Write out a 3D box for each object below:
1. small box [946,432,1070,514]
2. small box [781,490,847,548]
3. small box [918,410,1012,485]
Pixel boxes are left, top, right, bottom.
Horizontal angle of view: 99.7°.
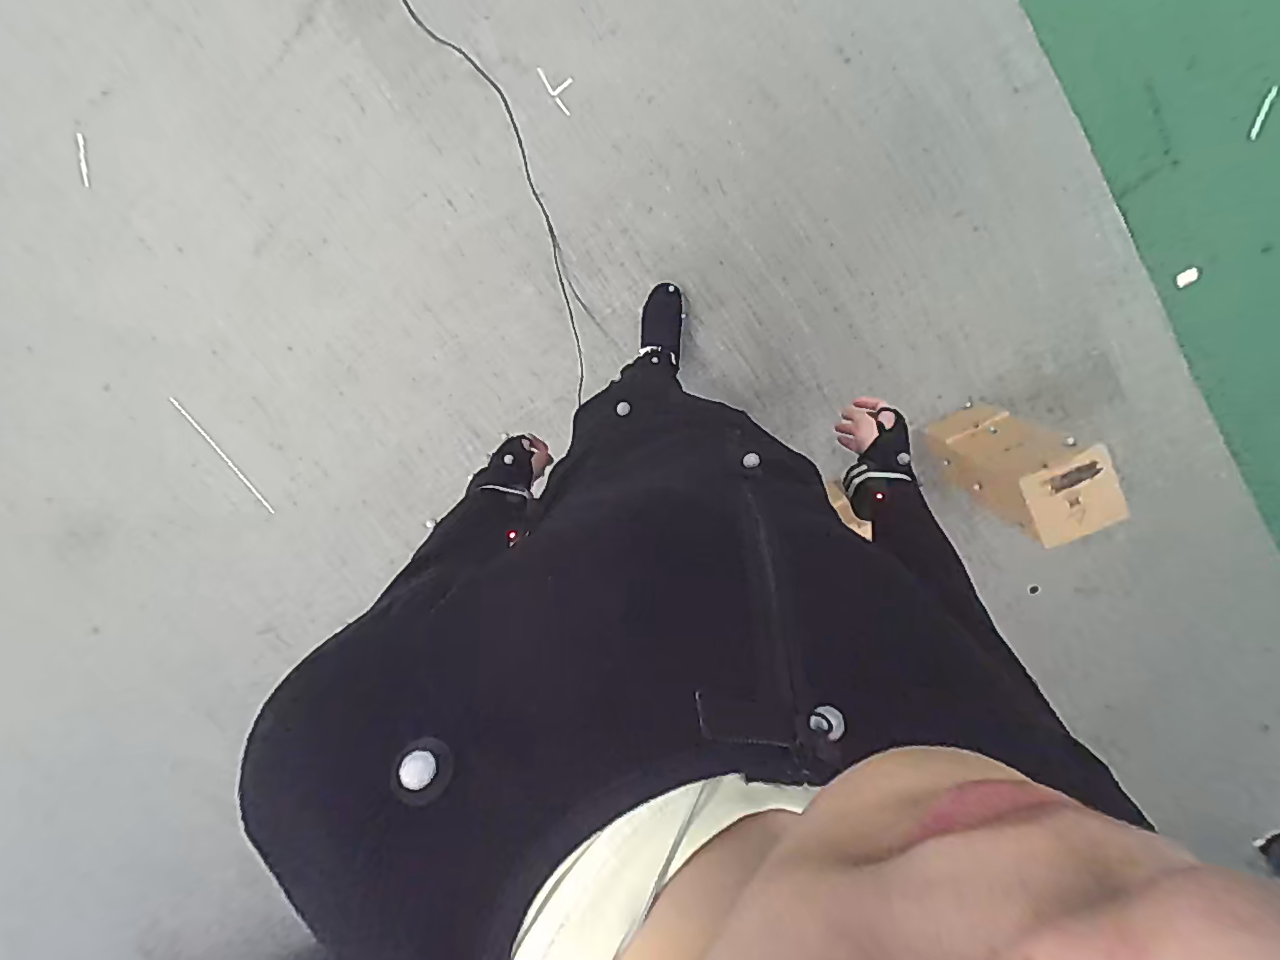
[{"bbox_3d":[0.888,-0.023,1.320,0.179,0.176,0.168,3,104,4],"label":"small box"},{"bbox_3d":[0.525,0.144,1.559,0.168,0.176,0.179,-30,100,12],"label":"small box"},{"bbox_3d":[0.890,-0.078,1.466,0.168,0.176,0.179,-28,102,12],"label":"small box"}]
